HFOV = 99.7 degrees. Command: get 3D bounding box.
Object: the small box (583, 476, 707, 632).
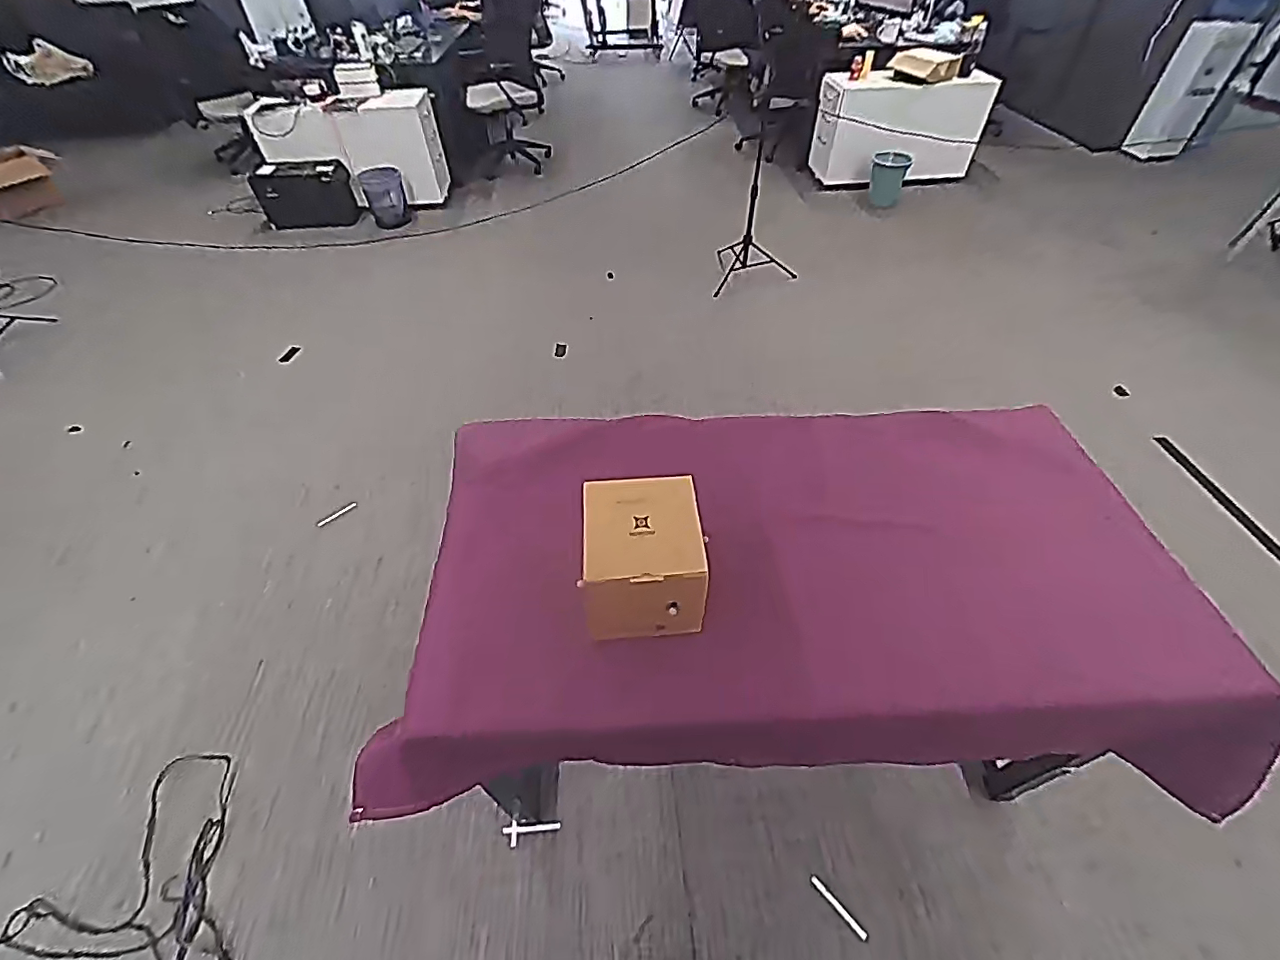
[{"bbox_3d":[0.005,0.117,0.814,0.168,0.176,0.179,-3,48,-2],"label":"small box"}]
